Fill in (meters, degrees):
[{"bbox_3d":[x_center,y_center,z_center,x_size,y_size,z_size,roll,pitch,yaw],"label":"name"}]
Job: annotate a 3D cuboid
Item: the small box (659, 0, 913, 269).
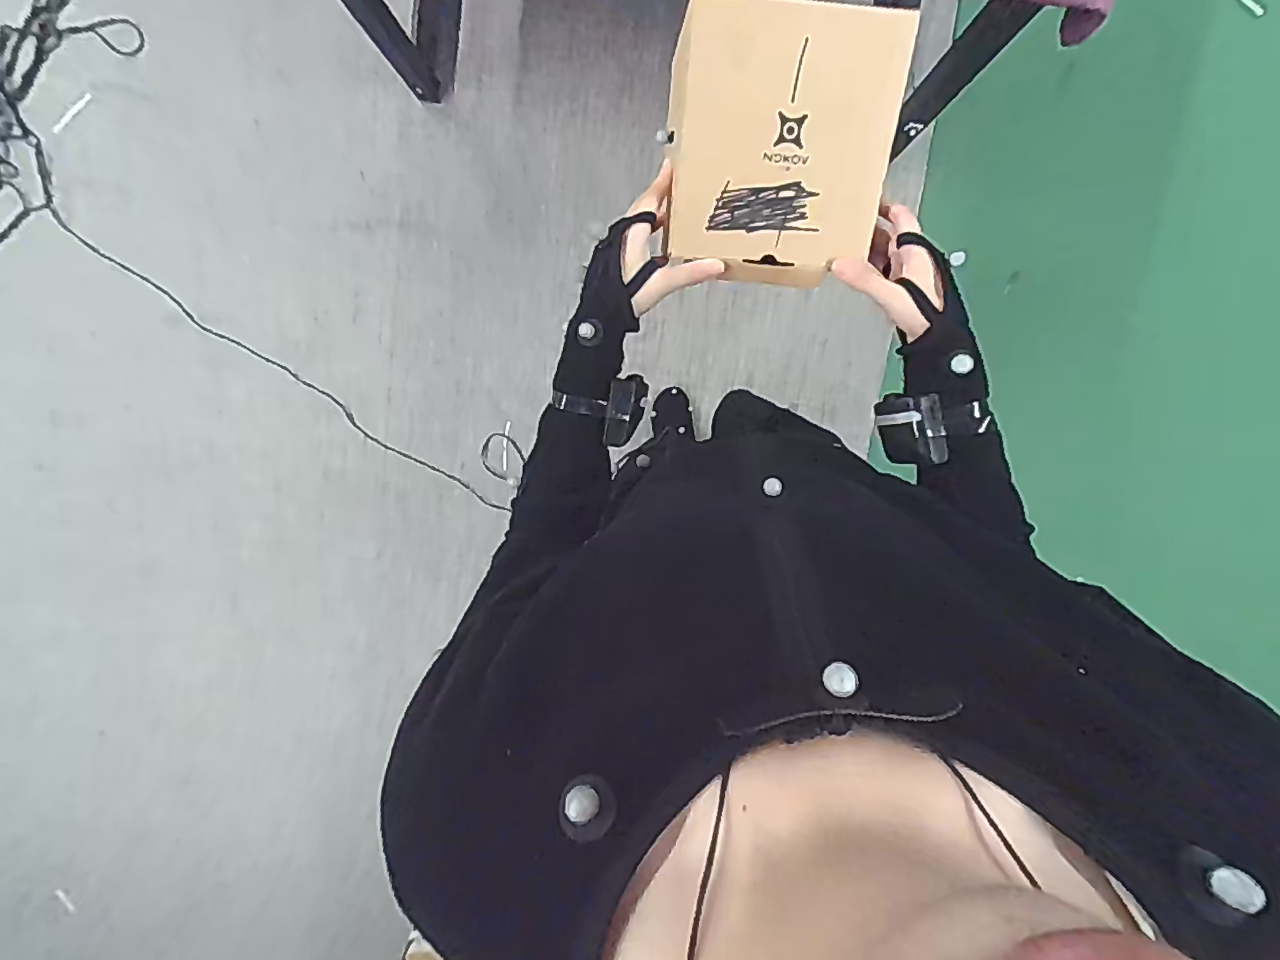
[{"bbox_3d":[0.108,-0.295,0.491,0.168,0.176,0.179,4,113,-3],"label":"small box"}]
